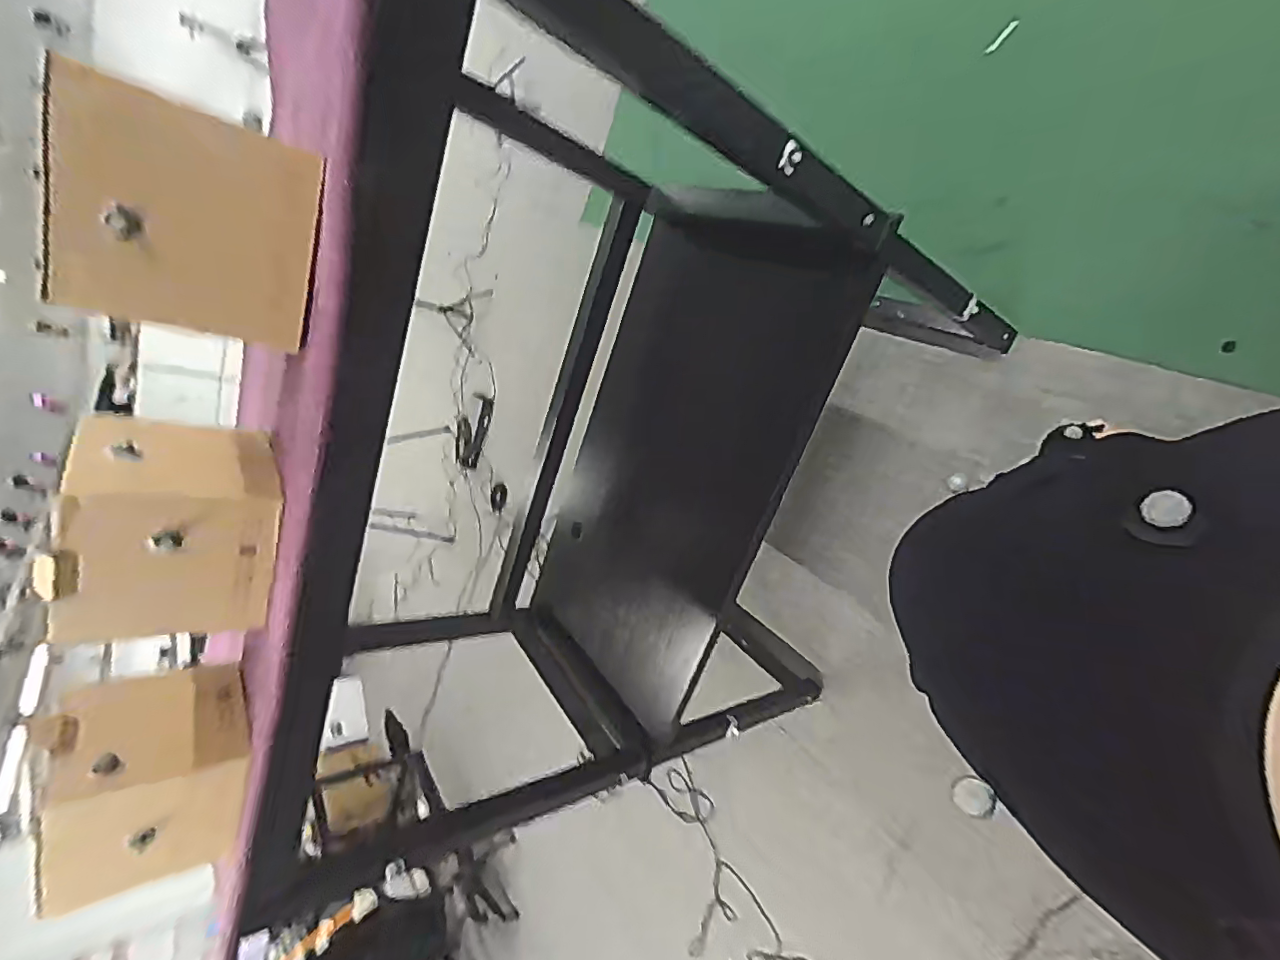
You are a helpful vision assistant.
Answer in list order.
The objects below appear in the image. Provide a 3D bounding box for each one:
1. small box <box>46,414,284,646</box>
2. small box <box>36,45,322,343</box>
[{"bbox_3d":[-0.493,0.046,0.575,0.179,0.176,0.168,40,114,44],"label":"small box"},{"bbox_3d":[-0.397,-0.238,0.489,0.168,0.176,0.179,38,115,46],"label":"small box"}]
